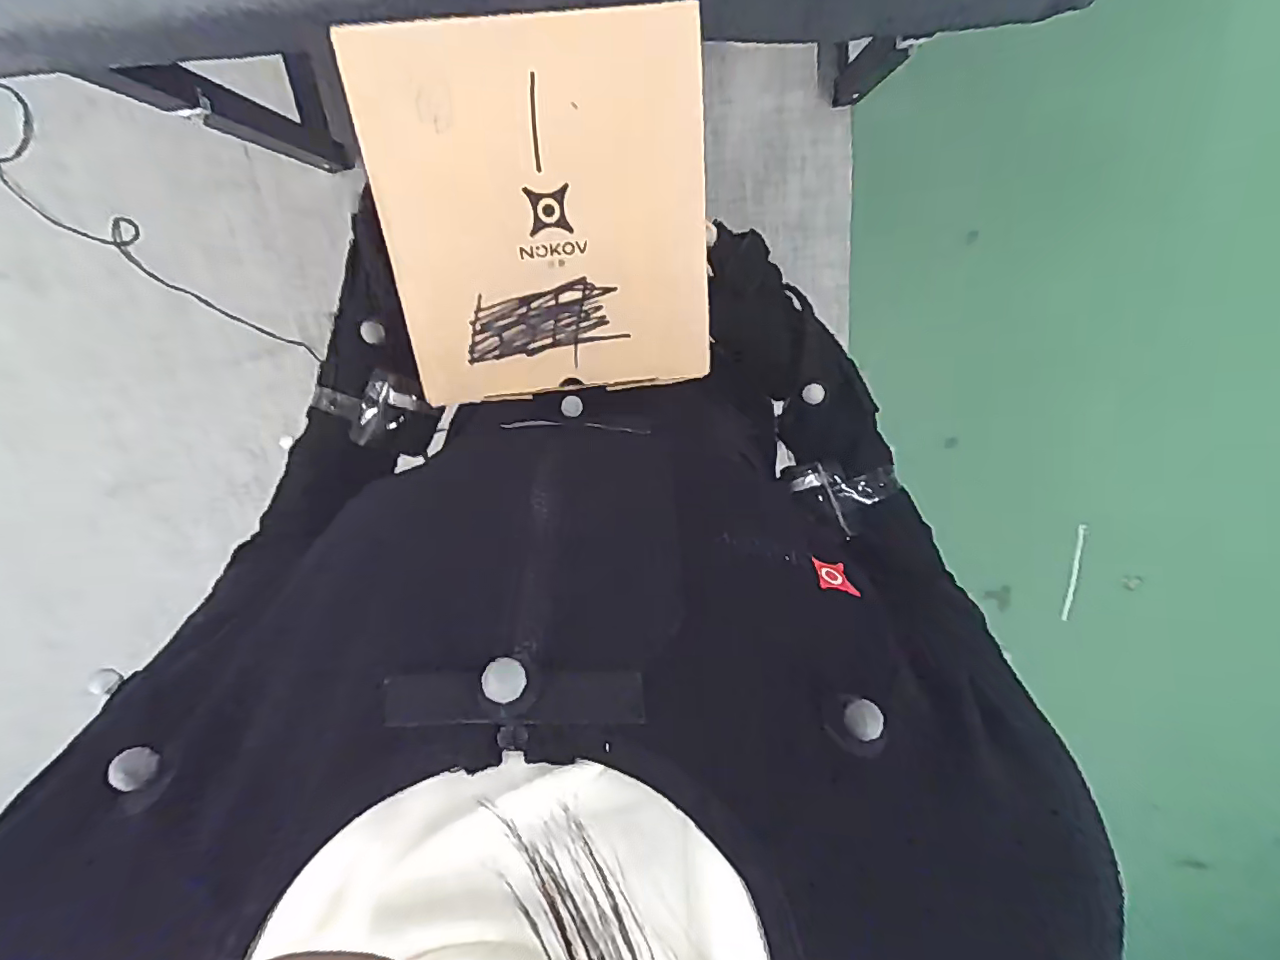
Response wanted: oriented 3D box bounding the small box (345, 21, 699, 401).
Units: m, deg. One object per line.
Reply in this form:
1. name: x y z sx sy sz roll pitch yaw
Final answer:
1. small box: -0.057 -0.167 0.360 0.168 0.176 0.179 -7 116 -4
